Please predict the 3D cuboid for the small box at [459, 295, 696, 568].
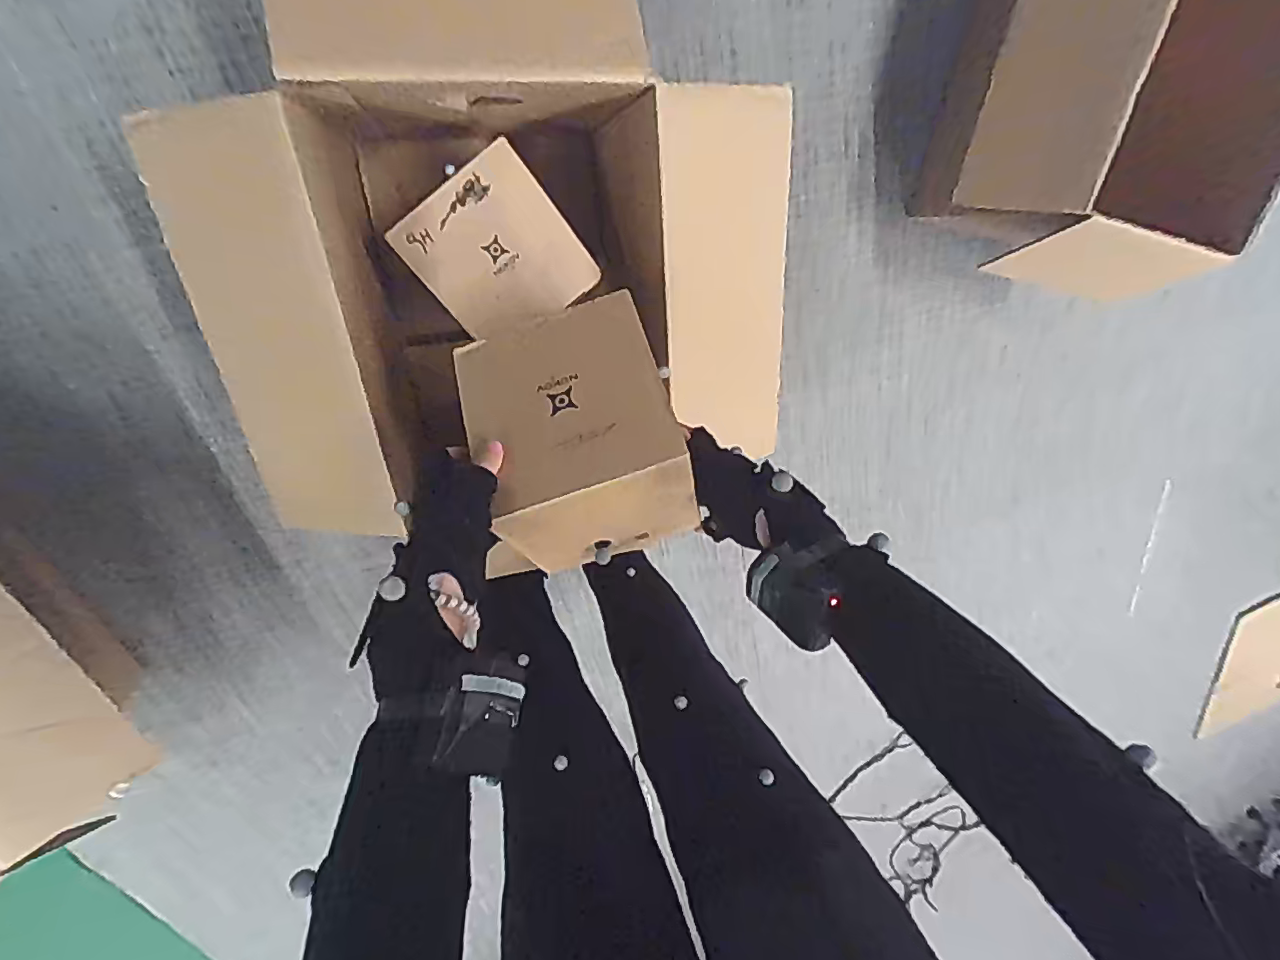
[{"bbox_3d":[-0.052,-0.036,0.519,0.168,0.179,0.176,-19,155,2],"label":"small box"}]
